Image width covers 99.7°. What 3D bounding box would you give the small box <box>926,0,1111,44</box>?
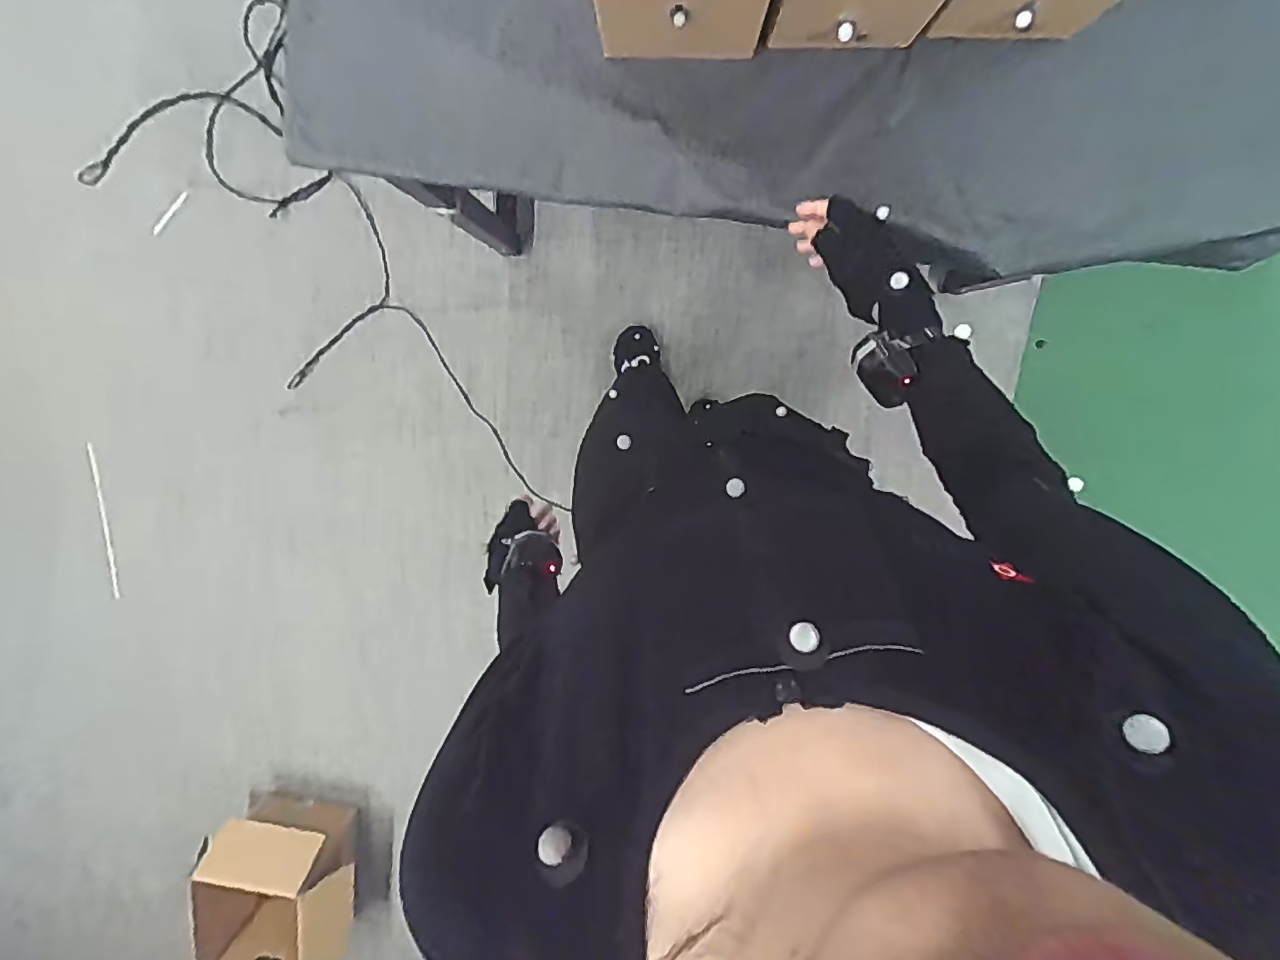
[{"bbox_3d":[0.405,-0.574,0.525,0.168,0.176,0.179,2,102,2],"label":"small box"}]
